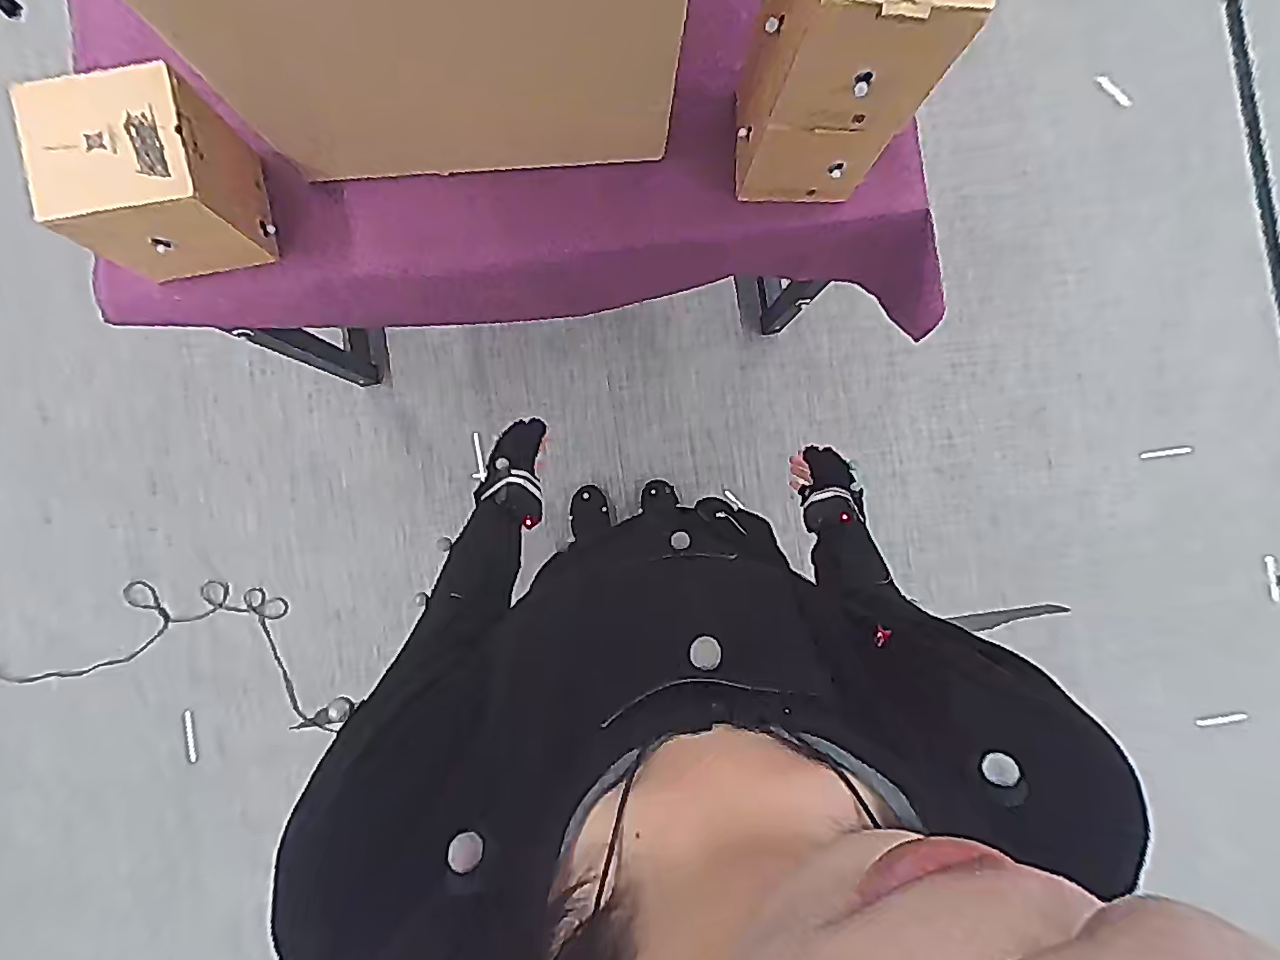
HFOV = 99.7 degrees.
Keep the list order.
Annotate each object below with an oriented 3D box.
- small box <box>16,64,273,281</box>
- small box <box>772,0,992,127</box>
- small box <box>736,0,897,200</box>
[{"bbox_3d":[-0.608,-0.379,0.694,0.179,0.176,0.168,-13,88,-4],"label":"small box"},{"bbox_3d":[0.246,-0.516,0.577,0.168,0.176,0.179,3,89,-2],"label":"small box"},{"bbox_3d":[0.231,-0.509,0.739,0.168,0.176,0.179,0,87,-3],"label":"small box"}]
